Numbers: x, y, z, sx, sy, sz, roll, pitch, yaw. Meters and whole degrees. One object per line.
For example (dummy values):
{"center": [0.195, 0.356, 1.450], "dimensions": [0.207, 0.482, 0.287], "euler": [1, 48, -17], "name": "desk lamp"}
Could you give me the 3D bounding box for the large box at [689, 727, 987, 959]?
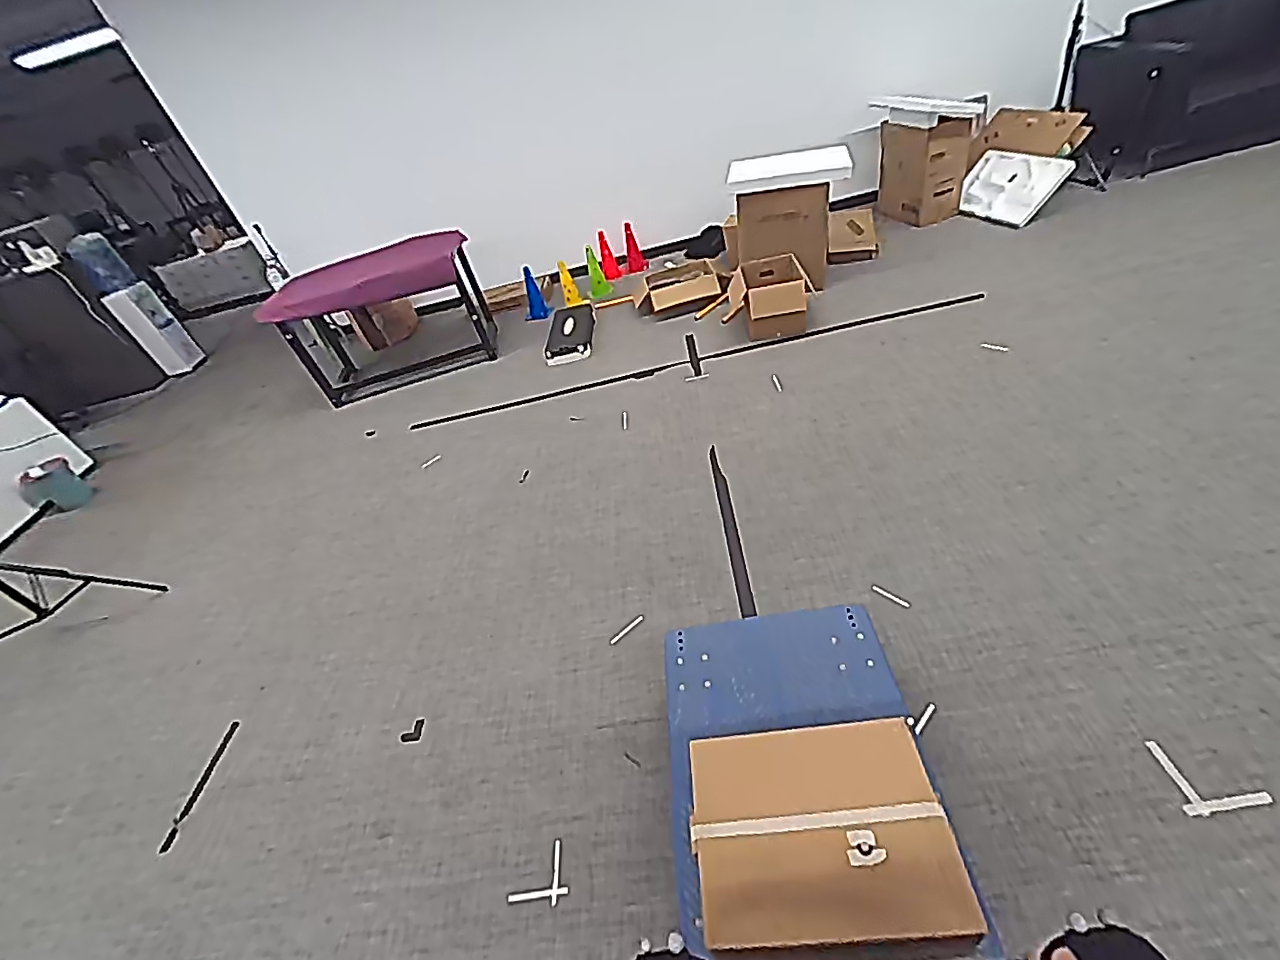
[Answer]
{"center": [0.319, 0.693, 0.979], "dimensions": [0.408, 0.320, 0.320], "euler": [-10, 40, 7], "name": "large box"}
